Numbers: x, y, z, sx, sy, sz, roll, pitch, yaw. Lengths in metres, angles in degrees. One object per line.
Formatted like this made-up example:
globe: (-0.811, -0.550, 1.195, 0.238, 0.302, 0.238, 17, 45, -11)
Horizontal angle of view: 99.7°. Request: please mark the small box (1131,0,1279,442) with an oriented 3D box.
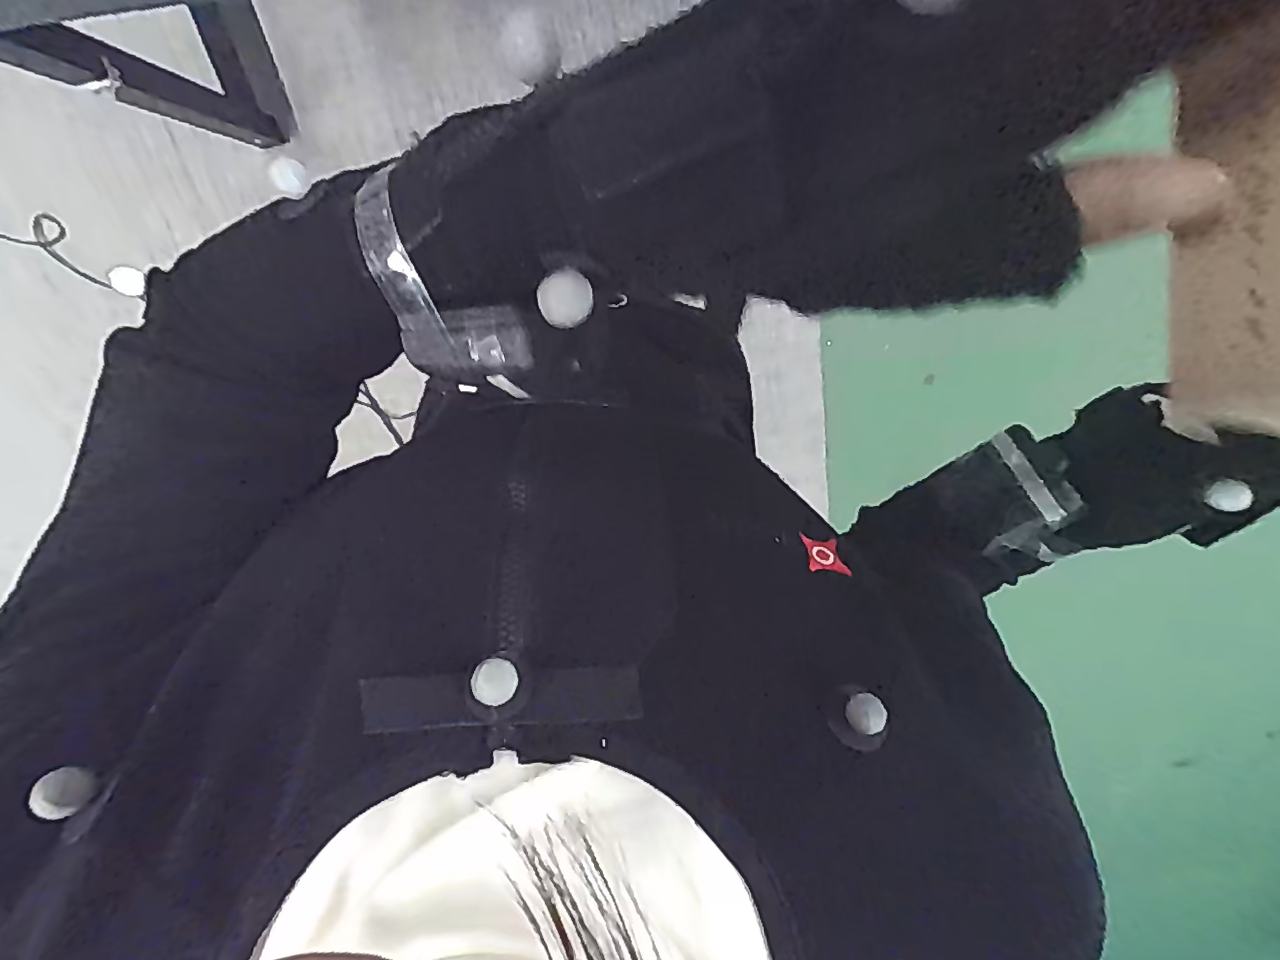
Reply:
small box: (0.222, -0.090, 0.082, 0.168, 0.176, 0.179, 4, 88, -18)
